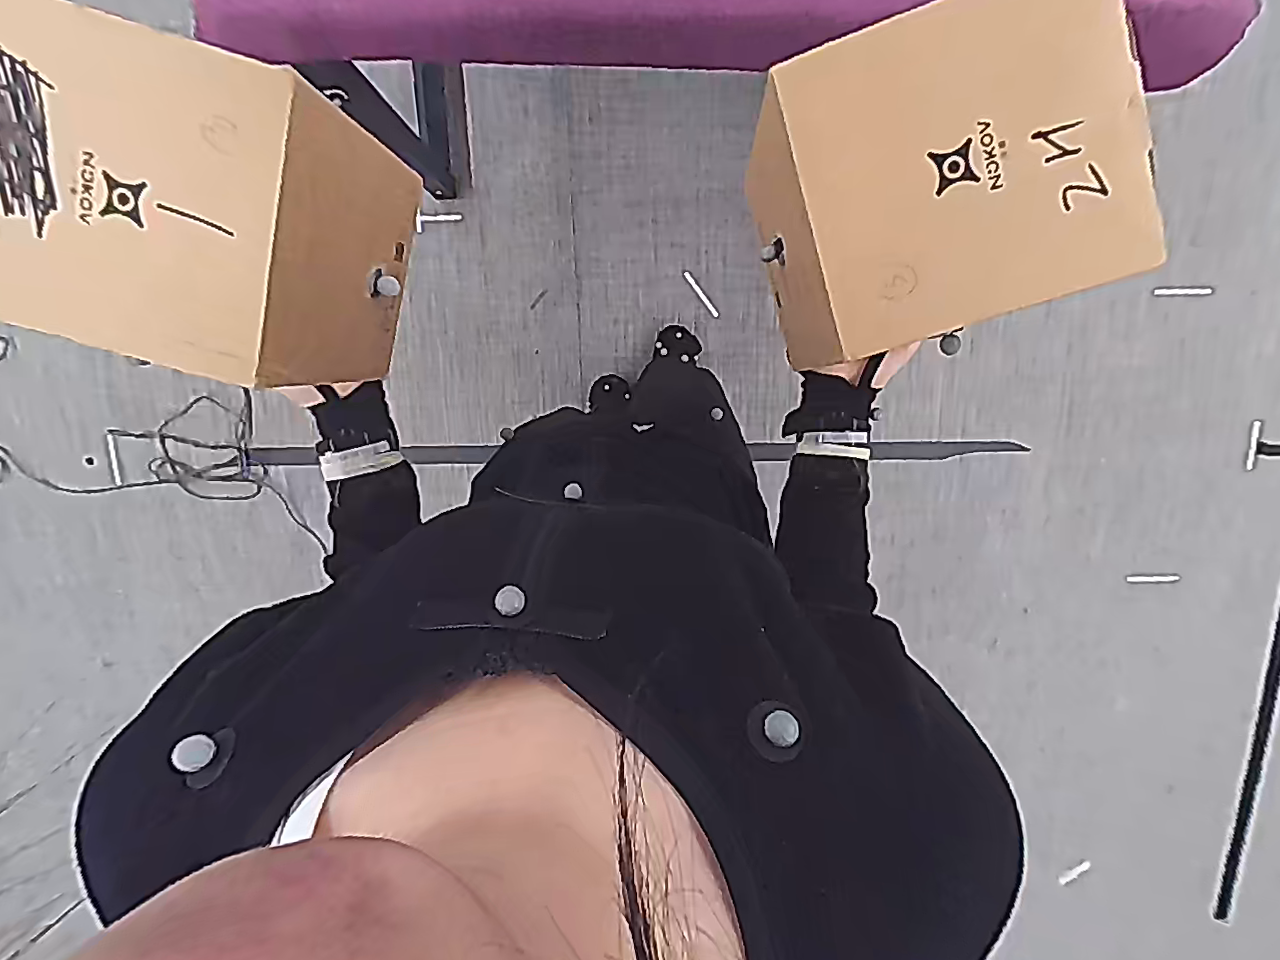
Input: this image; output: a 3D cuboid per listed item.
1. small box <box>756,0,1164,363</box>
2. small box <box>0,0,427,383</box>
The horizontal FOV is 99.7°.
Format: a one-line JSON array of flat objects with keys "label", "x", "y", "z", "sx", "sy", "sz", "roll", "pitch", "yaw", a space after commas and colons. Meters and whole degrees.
[{"label": "small box", "x": 0.185, "y": -0.184, "z": 0.371, "sx": 0.179, "sy": 0.176, "sz": 0.168, "roll": -16, "pitch": 98, "yaw": 8}, {"label": "small box", "x": -0.271, "y": -0.169, "z": 0.360, "sx": 0.179, "sy": 0.176, "sz": 0.168, "roll": 16, "pitch": 102, "yaw": -4}]
